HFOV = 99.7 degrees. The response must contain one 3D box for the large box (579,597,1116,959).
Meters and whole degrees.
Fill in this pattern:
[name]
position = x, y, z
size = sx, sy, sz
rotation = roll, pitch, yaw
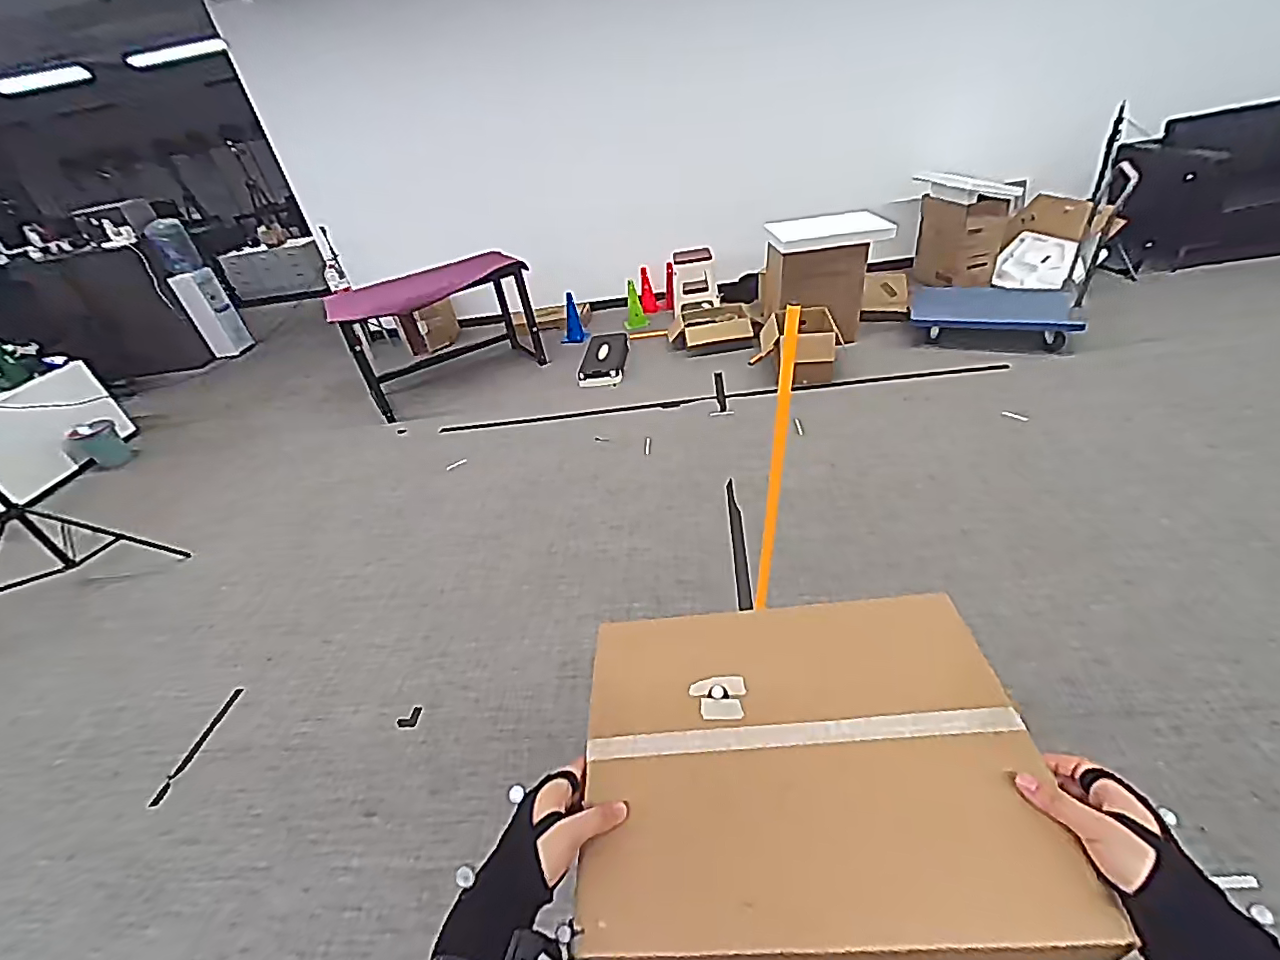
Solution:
[large box]
position = 0.175, 0.371, 0.609
size = 0.408, 0.320, 0.320
rotation = -8, 35, 7
